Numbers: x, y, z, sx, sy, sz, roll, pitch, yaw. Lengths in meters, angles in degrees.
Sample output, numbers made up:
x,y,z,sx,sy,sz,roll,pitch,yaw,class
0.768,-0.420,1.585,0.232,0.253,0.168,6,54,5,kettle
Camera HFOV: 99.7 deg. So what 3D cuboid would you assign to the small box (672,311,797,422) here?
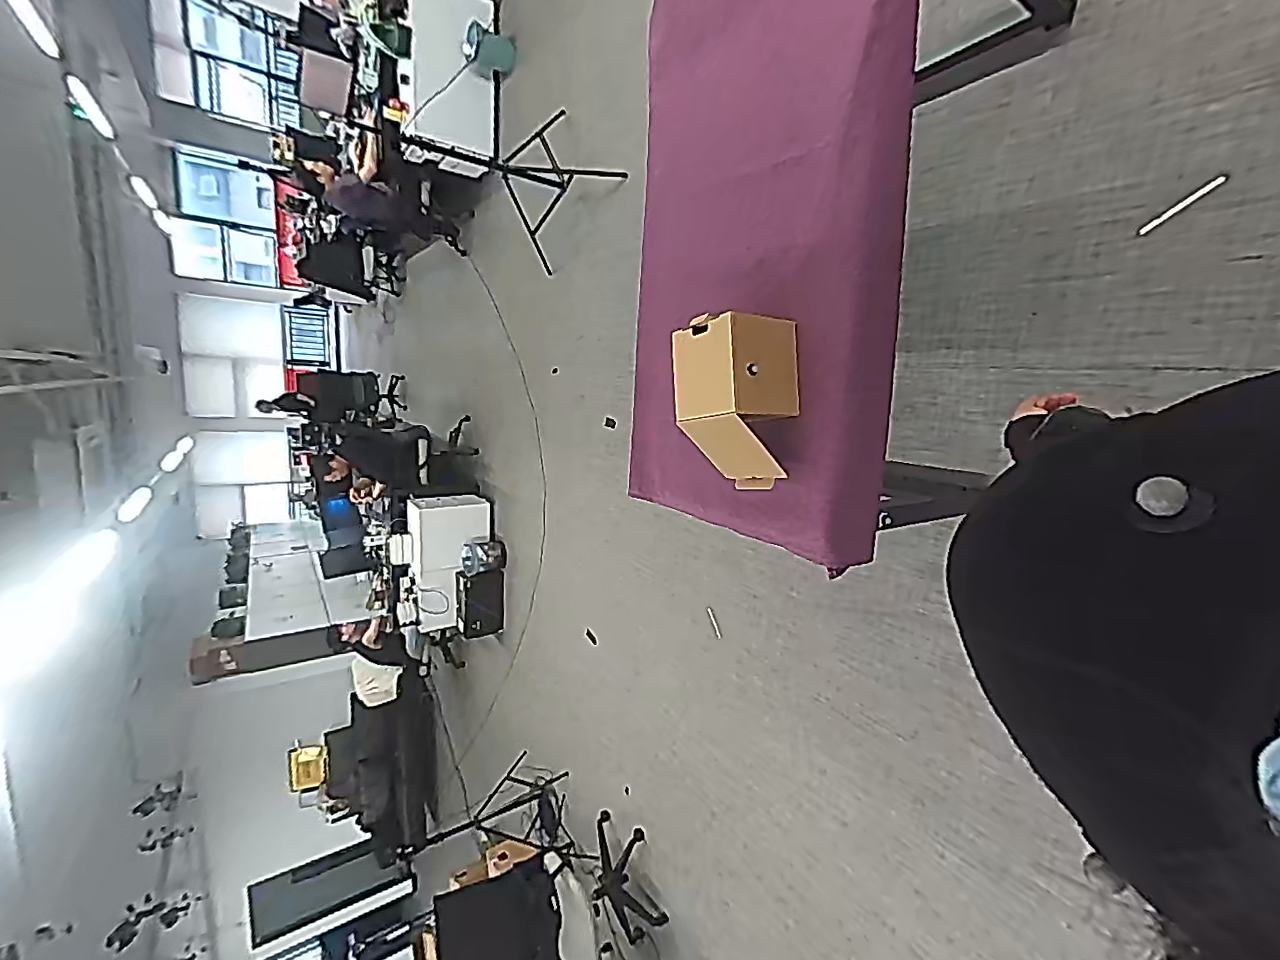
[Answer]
x,y,z,sx,sy,sz,roll,pitch,yaw,class
0.178,-0.204,1.017,0.168,0.176,0.179,0,93,55,small box
